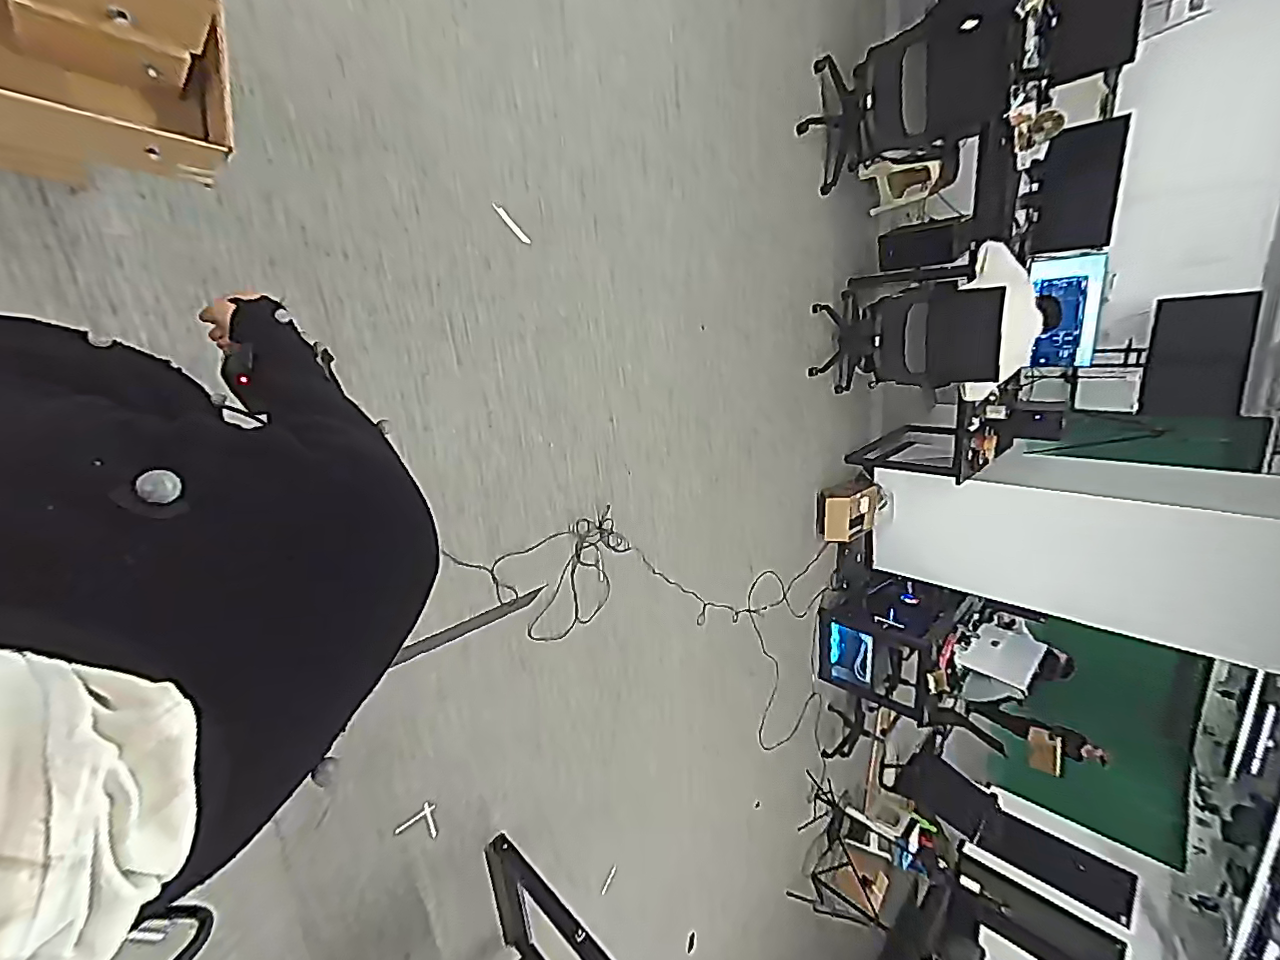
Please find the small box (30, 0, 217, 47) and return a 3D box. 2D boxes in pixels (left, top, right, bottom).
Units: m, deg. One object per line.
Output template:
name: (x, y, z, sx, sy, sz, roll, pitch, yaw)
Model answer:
small box: (-0.643, -0.668, 0.650, 0.179, 0.176, 0.168, -11, 105, -45)
